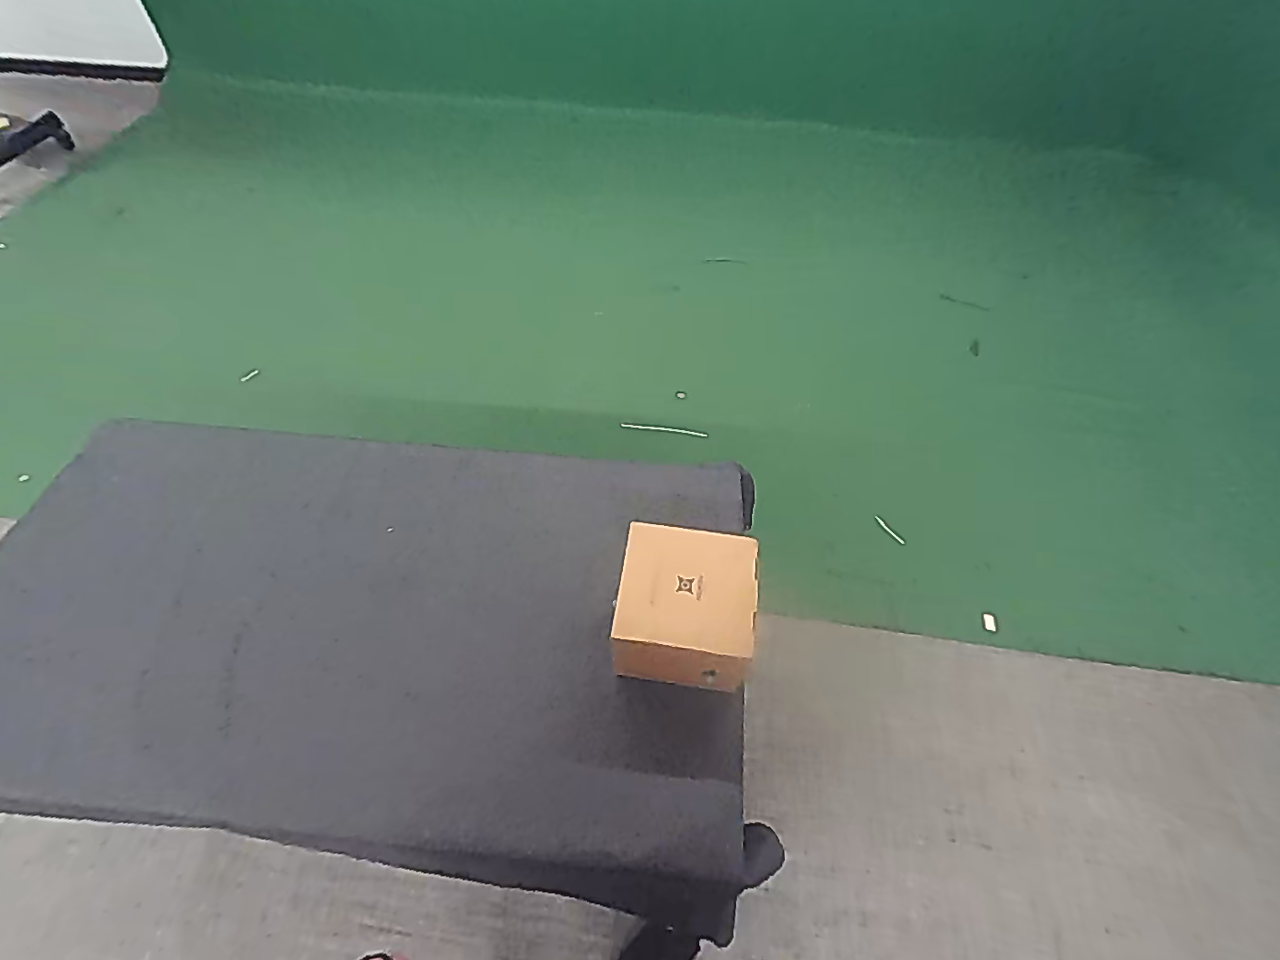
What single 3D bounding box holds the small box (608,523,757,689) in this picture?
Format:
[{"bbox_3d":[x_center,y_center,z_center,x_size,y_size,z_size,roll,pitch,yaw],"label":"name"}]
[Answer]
[{"bbox_3d":[0.059,0.179,0.749,0.179,0.176,0.168,6,55,5],"label":"small box"}]
